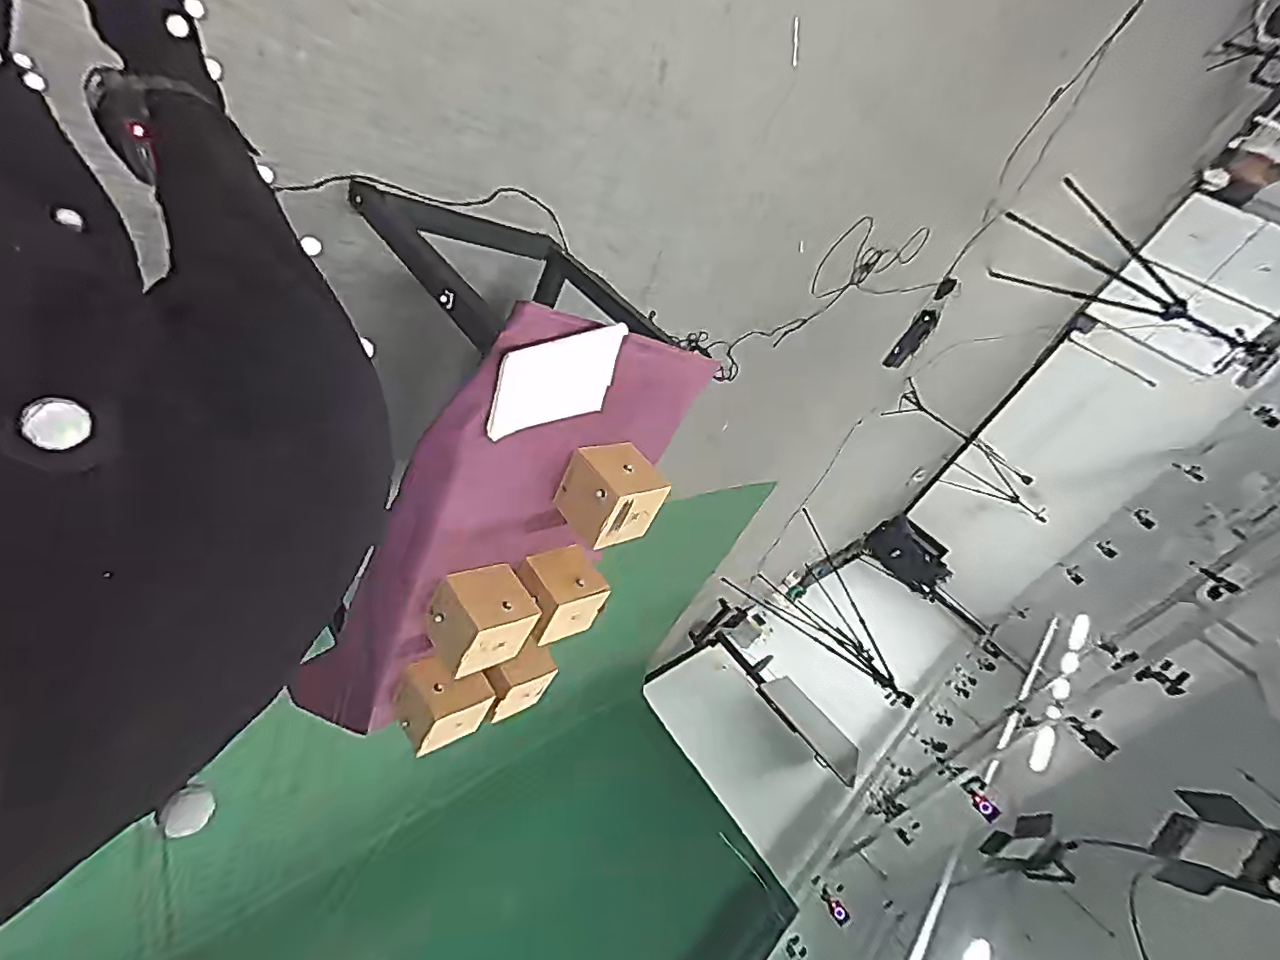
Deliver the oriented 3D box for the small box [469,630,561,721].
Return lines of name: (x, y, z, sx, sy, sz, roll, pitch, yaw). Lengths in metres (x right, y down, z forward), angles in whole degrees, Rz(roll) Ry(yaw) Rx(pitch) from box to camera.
small box: (-0.370, 0.560, 1.580, 0.179, 0.176, 0.168, -1, 131, -51)

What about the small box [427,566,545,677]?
small box: (-0.362, 0.319, 1.261, 0.179, 0.176, 0.168, -4, 132, -51)

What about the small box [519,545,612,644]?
small box: (-0.212, 0.297, 1.433, 0.179, 0.176, 0.168, -10, 137, -47)
